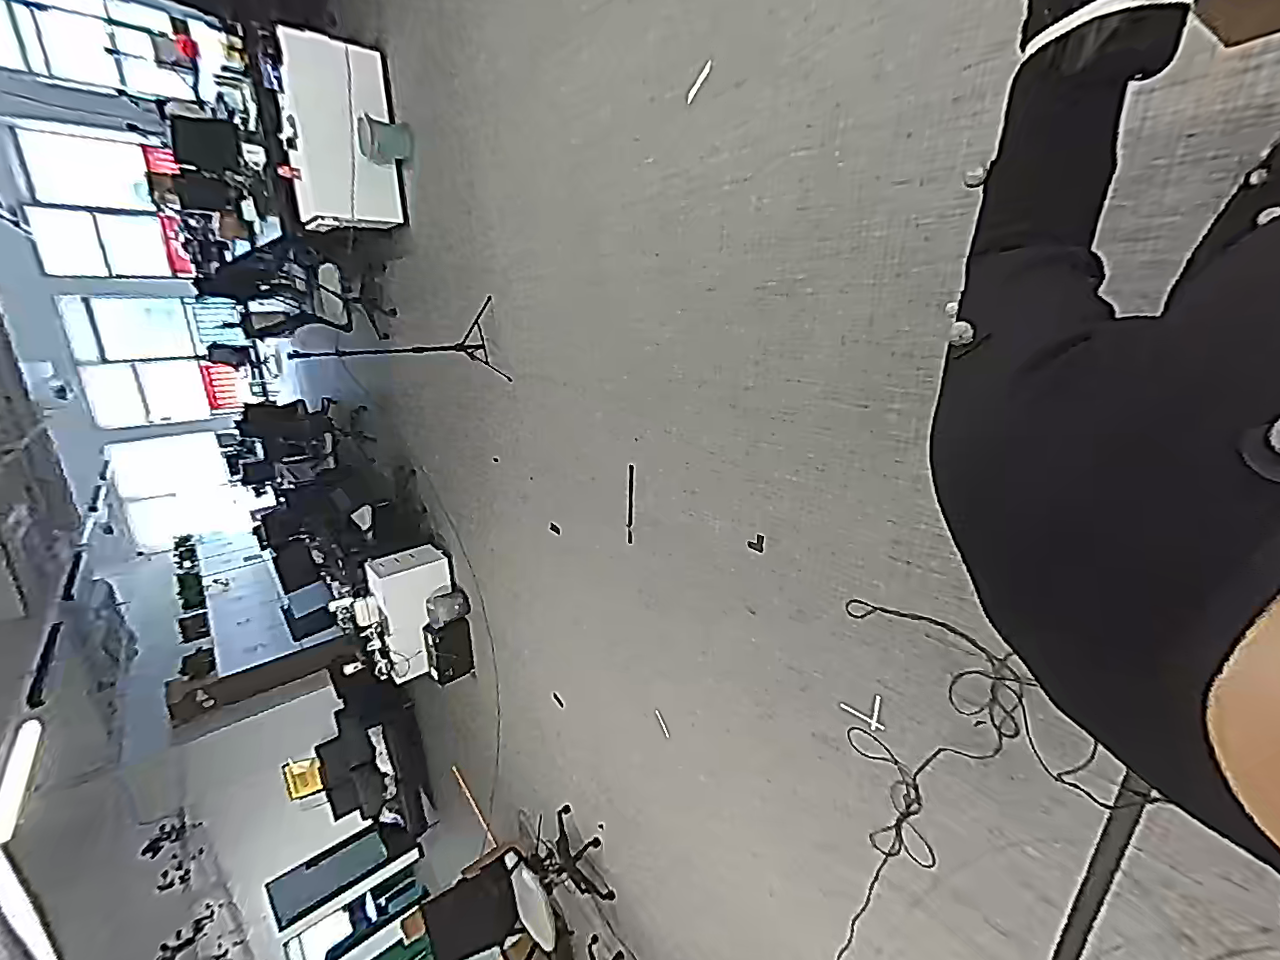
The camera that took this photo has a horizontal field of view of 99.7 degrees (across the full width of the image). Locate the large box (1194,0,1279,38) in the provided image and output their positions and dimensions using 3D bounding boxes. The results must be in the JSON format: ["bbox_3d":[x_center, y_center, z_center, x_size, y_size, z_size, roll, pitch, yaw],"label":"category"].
[{"bbox_3d":[0.547,-0.492,0.240,0.408,0.320,0.320,13,118,49],"label":"large box"}]
